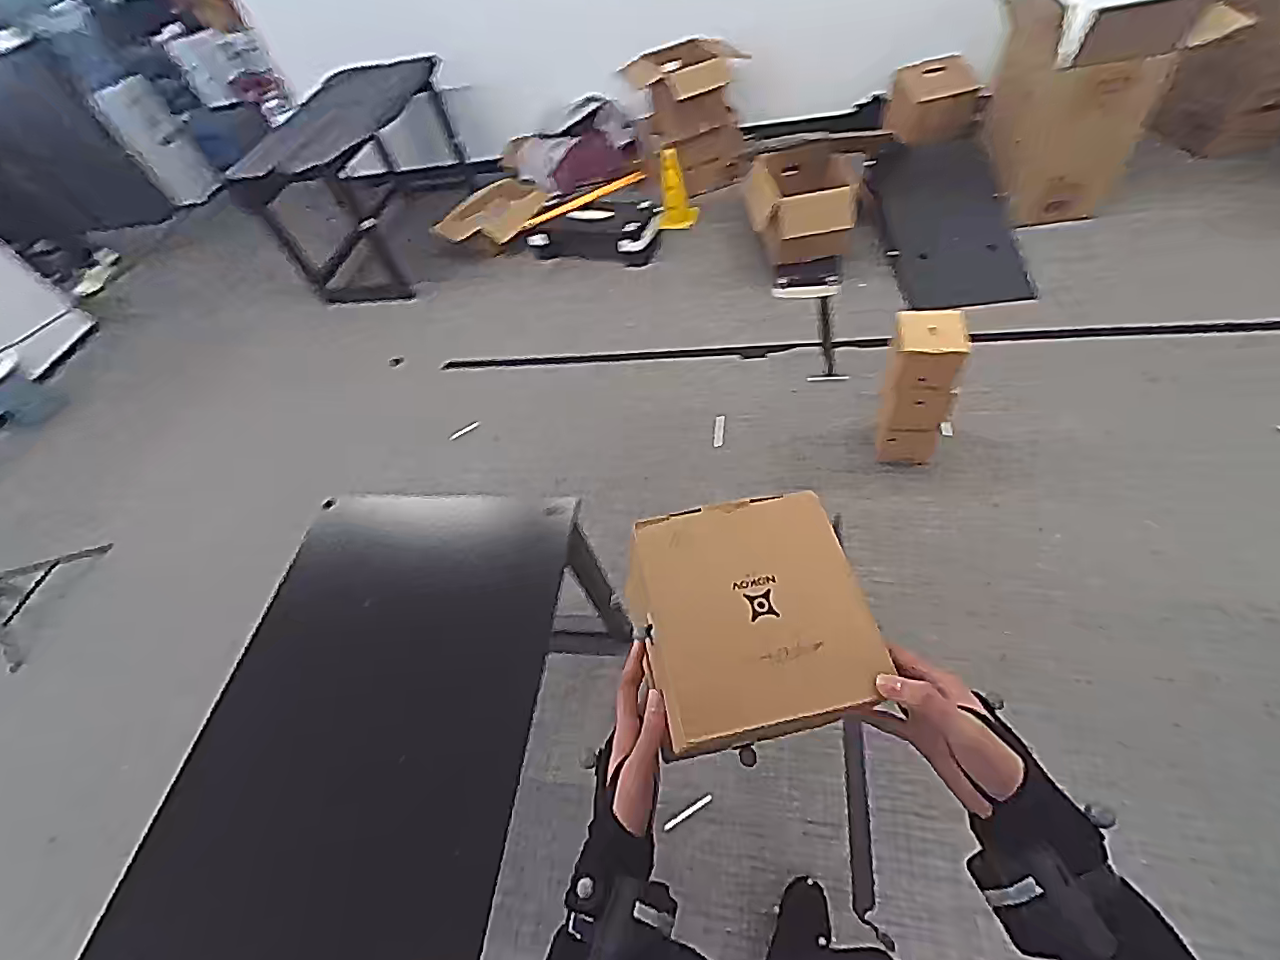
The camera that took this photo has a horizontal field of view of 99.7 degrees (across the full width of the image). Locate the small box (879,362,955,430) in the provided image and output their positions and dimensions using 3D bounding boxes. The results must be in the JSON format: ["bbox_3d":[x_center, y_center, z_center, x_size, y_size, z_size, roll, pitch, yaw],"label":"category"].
[{"bbox_3d":[0.867,-0.271,1.715,0.179,0.176,0.168,1,55,11],"label":"small box"}]

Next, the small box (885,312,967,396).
[{"bbox_3d":[0.832,-0.371,1.591,0.168,0.176,0.179,2,56,13],"label":"small box"}]

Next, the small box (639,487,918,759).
[{"bbox_3d":[0.096,0.130,0.477,0.168,0.176,0.179,-8,59,-8],"label":"small box"}]
